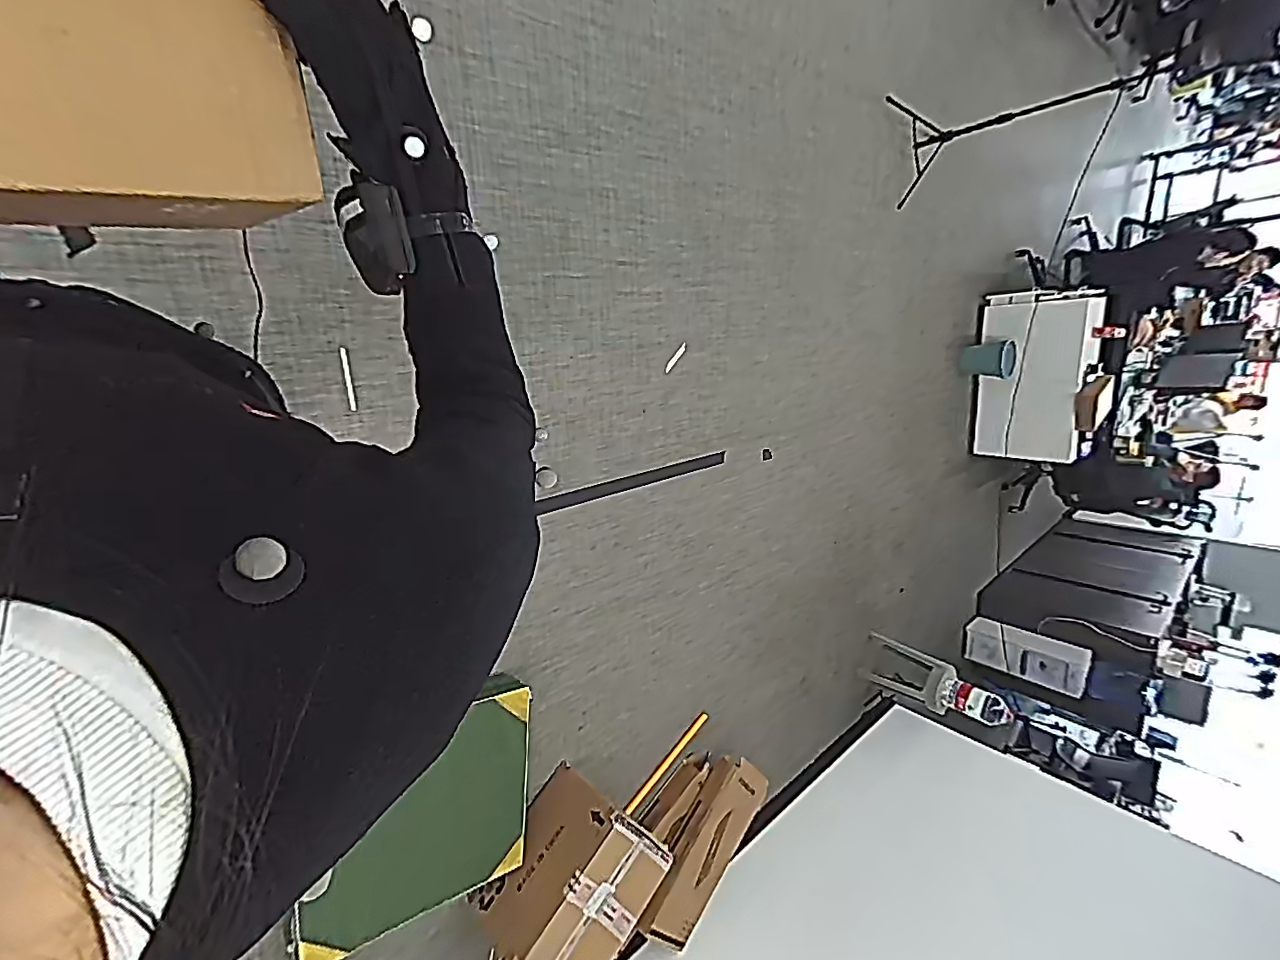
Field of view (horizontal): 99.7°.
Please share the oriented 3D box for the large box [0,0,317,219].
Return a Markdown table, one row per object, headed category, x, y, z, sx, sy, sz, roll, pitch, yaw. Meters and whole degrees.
| category | x | y | z | sx | sy | sz | roll | pitch | yaw |
| --- | --- | --- | --- | --- | --- | --- | --- | --- | --- |
| large box | -0.475 | -0.326 | 0.300 | 0.408 | 0.320 | 0.320 | -20 | 120 | -38 |
